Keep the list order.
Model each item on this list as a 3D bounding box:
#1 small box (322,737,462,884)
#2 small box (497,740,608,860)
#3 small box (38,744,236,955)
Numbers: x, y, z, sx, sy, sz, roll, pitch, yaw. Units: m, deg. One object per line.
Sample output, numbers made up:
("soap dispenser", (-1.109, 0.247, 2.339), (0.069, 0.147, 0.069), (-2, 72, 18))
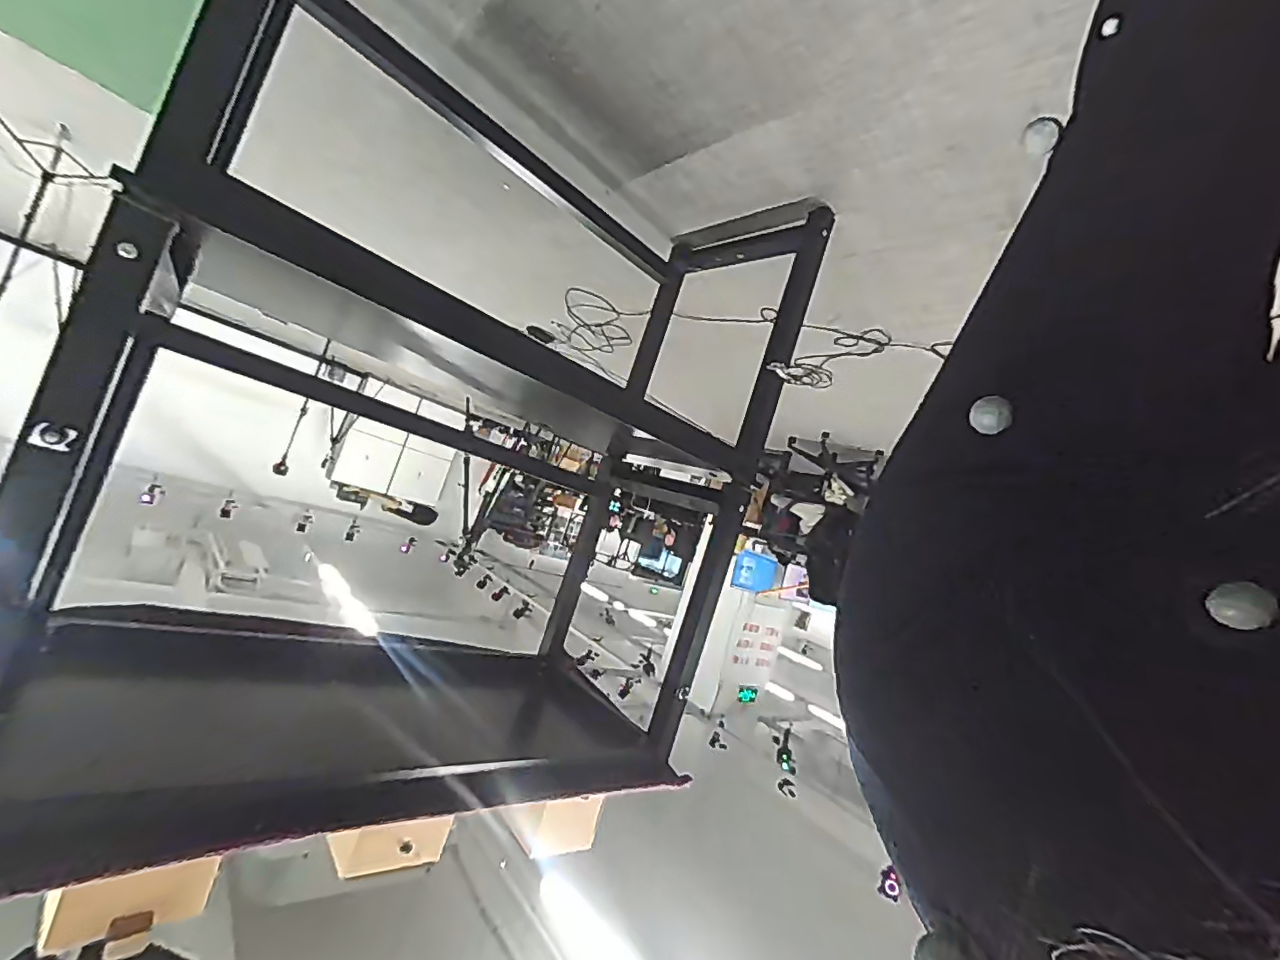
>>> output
("small box", (-0.464, 0.606, 1.022), (0.179, 0.176, 0.168), (23, 175, -41))
("small box", (-0.194, 0.709, 1.221), (0.168, 0.176, 0.179), (20, 174, -37))
("small box", (-0.714, 0.508, 0.781), (0.168, 0.176, 0.179), (20, 178, -44))
